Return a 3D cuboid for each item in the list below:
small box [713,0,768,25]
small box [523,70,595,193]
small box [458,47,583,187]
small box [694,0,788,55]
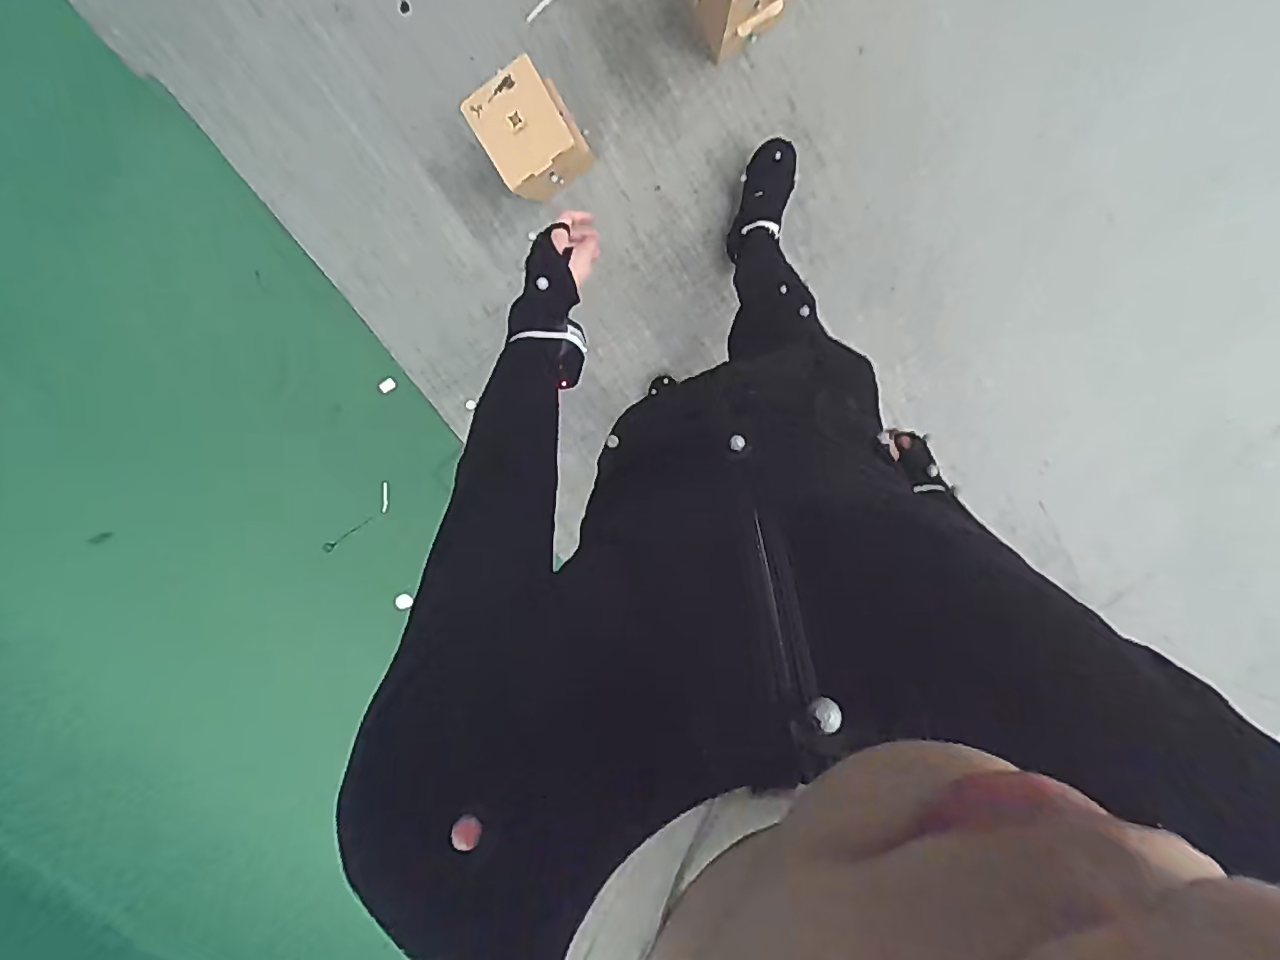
[{"bbox_3d":[0.198,-0.997,0.986,0.168,0.176,0.179,-26,109,13],"label":"small box"},{"bbox_3d":[-0.224,-0.802,1.268,0.179,0.176,0.168,-27,109,13],"label":"small box"},{"bbox_3d":[-0.235,-0.734,1.119,0.168,0.176,0.179,-27,110,14],"label":"small box"},{"bbox_3d":[0.202,-1.052,1.137,0.168,0.176,0.179,-20,111,13],"label":"small box"}]
